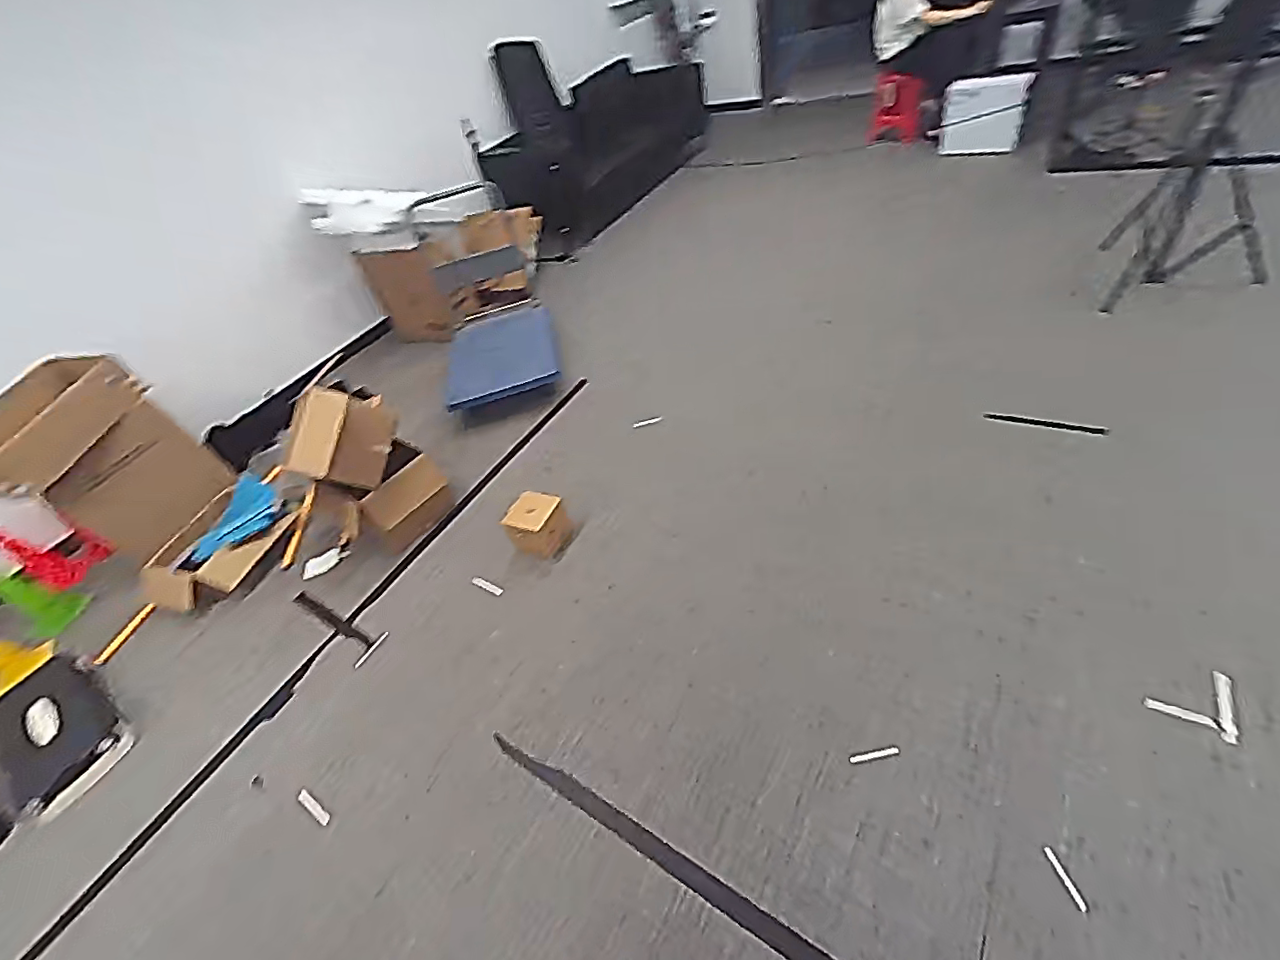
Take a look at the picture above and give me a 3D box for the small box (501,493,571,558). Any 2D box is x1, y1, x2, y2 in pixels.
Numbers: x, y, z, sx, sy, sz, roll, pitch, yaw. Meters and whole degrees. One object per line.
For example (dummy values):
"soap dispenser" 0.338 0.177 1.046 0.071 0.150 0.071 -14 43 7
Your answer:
"small box" -0.387 0.177 2.056 0.179 0.176 0.168 9 49 26
